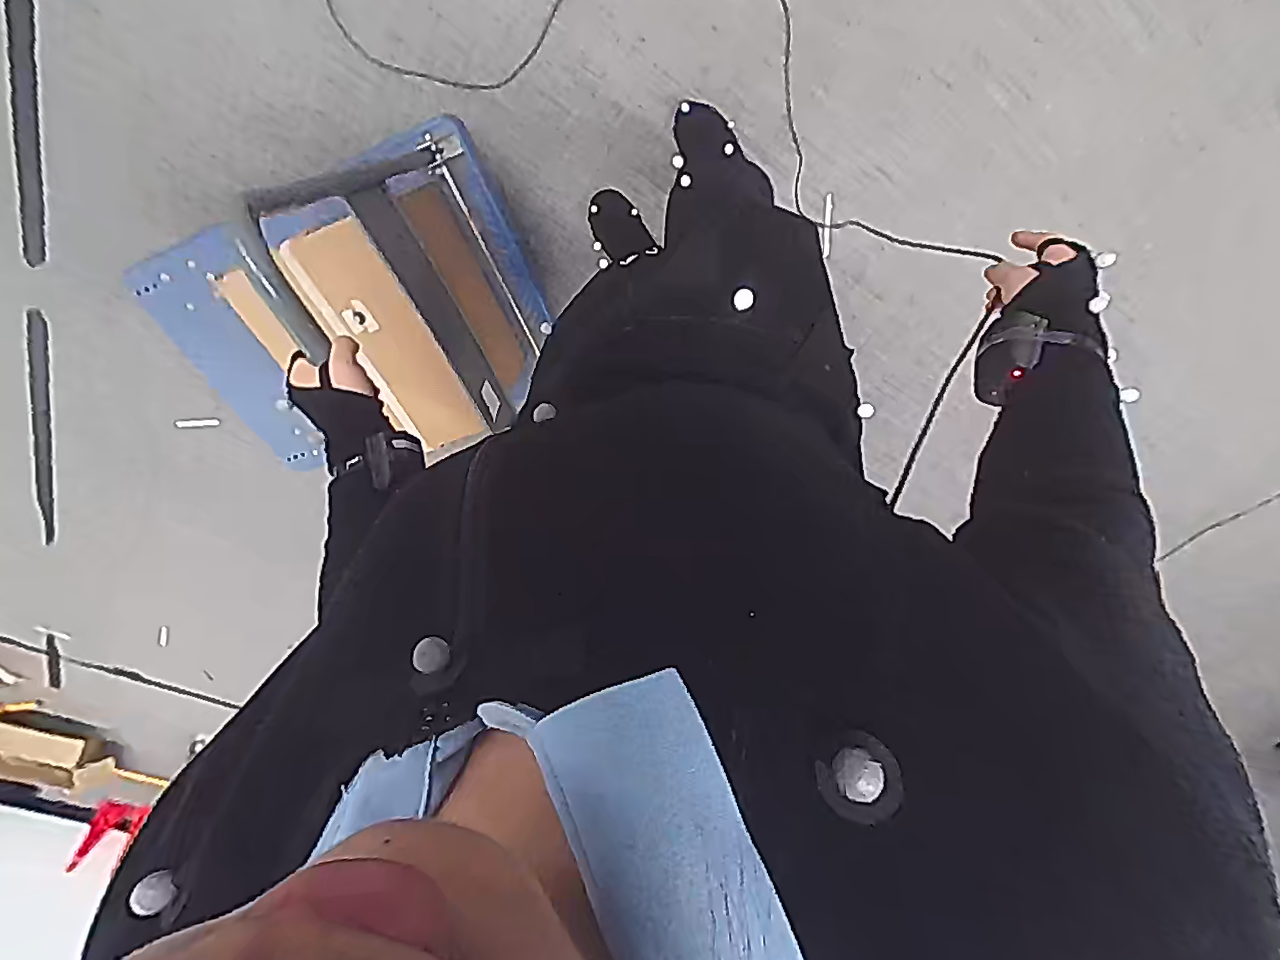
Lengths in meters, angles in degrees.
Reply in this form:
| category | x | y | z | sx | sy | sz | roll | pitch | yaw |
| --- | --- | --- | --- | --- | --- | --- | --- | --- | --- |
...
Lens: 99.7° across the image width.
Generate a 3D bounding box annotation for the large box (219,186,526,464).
| category | x | y | z | sx | sy | sz | roll | pitch | yaw |
| --- | --- | --- | --- | --- | --- | --- | --- | --- | --- |
| large box | -0.480 | -0.306 | 1.082 | 0.320 | 0.320 | 0.408 | -16 | 123 | 13 |
